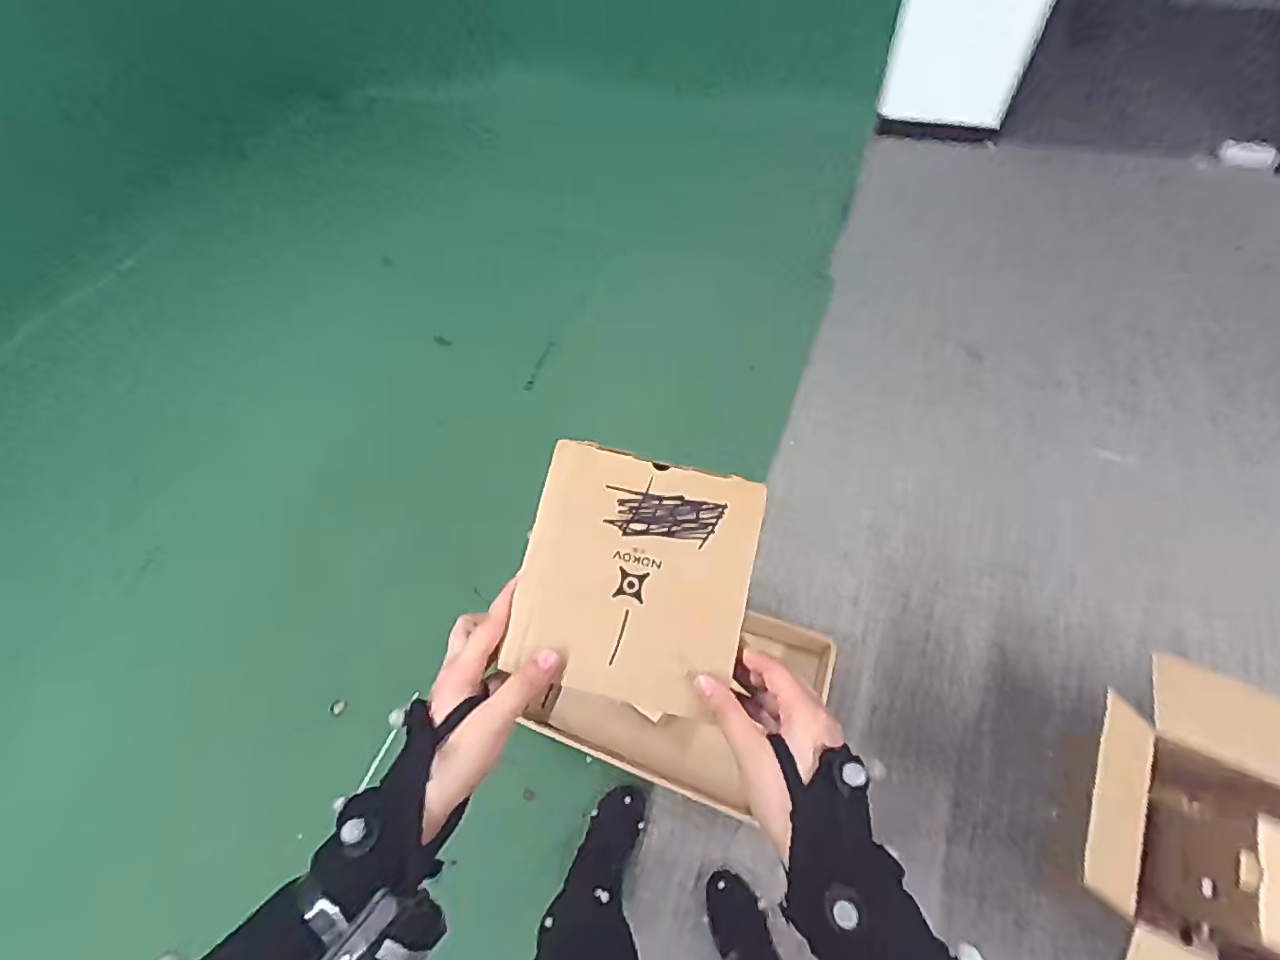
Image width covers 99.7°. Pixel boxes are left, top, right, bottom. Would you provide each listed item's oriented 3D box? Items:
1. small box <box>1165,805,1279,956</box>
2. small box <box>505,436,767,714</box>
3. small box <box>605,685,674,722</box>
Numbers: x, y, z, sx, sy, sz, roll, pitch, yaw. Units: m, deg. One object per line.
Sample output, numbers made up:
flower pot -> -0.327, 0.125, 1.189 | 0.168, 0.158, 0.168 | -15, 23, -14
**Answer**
small box -> 0.986, 0.640, 0.853 | 0.179, 0.176, 0.168 | 20, 66, 17
small box -> -0.001, 0.083, 0.477 | 0.168, 0.176, 0.179 | 12, 77, 3
small box -> 0.016, 0.437, 1.249 | 0.179, 0.176, 0.168 | 29, 66, 20
